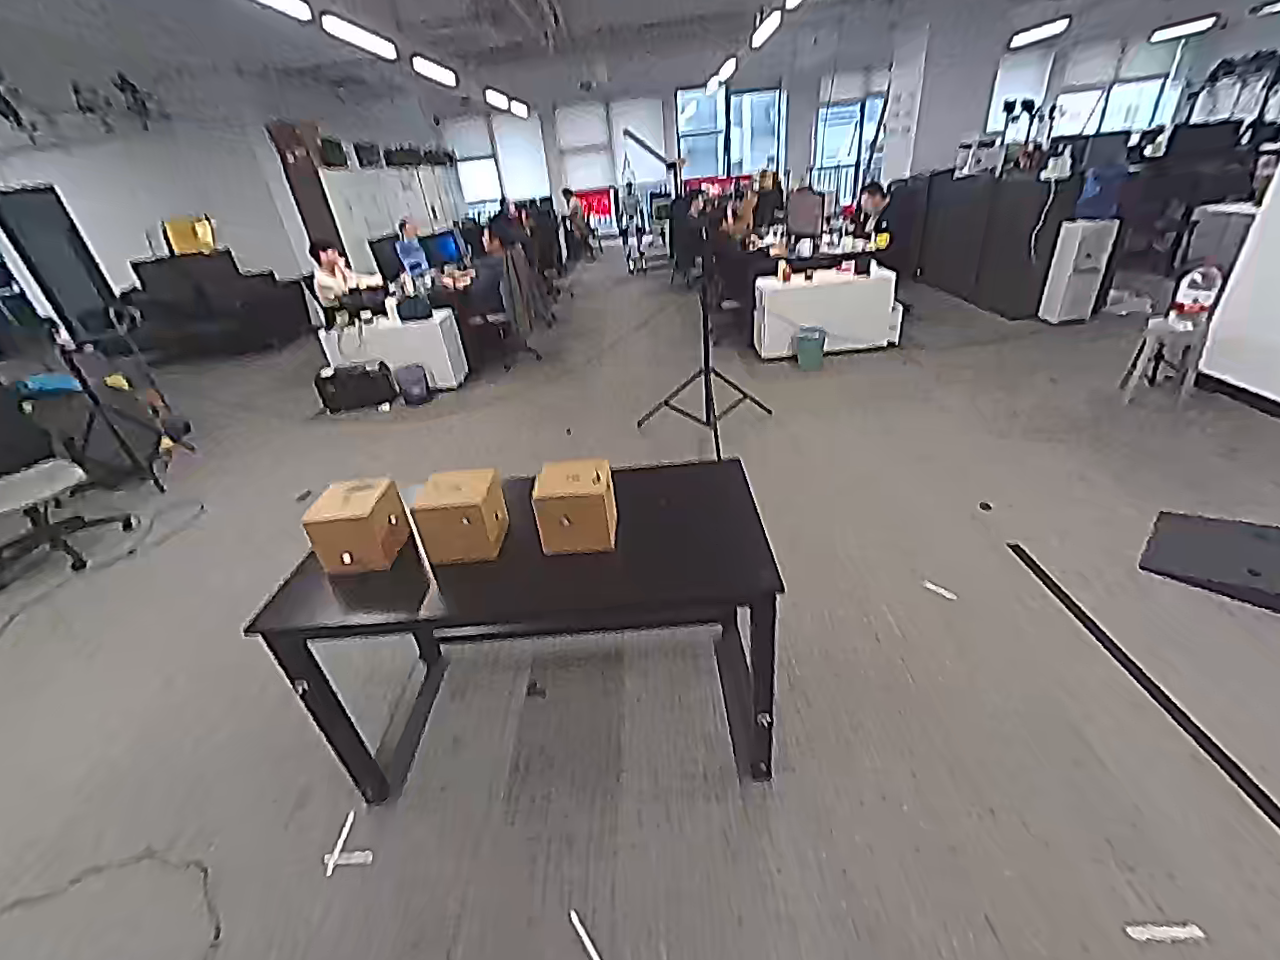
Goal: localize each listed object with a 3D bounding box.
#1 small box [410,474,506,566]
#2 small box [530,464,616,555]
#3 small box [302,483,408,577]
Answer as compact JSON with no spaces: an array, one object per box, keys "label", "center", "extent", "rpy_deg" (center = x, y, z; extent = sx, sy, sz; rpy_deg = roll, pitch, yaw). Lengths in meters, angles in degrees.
[{"label":"small box","center":[-0.454,0.102,1.383],"extent":[0.179,0.176,0.168],"rpy_deg":[-5,29,2]},{"label":"small box","center":[-0.162,0.077,1.373],"extent":[0.179,0.176,0.168],"rpy_deg":[-5,30,4]},{"label":"small box","center":[-0.719,0.127,1.393],"extent":[0.168,0.176,0.179],"rpy_deg":[-6,31,1]}]
